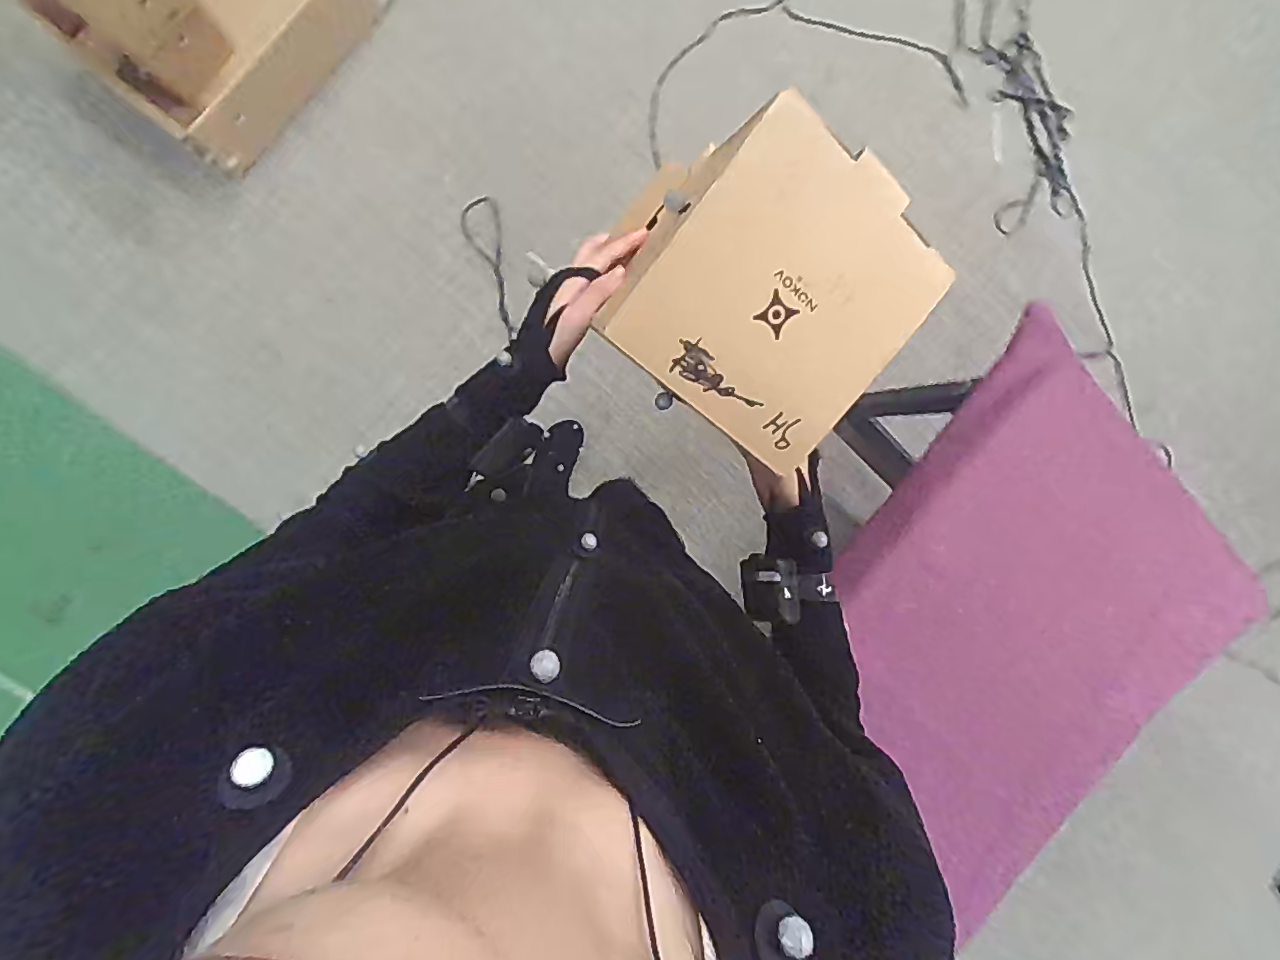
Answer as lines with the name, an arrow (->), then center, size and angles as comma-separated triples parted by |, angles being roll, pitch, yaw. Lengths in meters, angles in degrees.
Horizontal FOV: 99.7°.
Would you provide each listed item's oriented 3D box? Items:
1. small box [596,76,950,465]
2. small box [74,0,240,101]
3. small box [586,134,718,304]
small box -> 0.079, -0.146, 0.418 | 0.168, 0.176, 0.179 | 35, 100, -18
small box -> -1.012, -0.971, 1.154 | 0.168, 0.176, 0.179 | 36, 87, -12
small box -> 0.058, -0.209, 0.569 | 0.179, 0.176, 0.168 | 38, 99, -19
